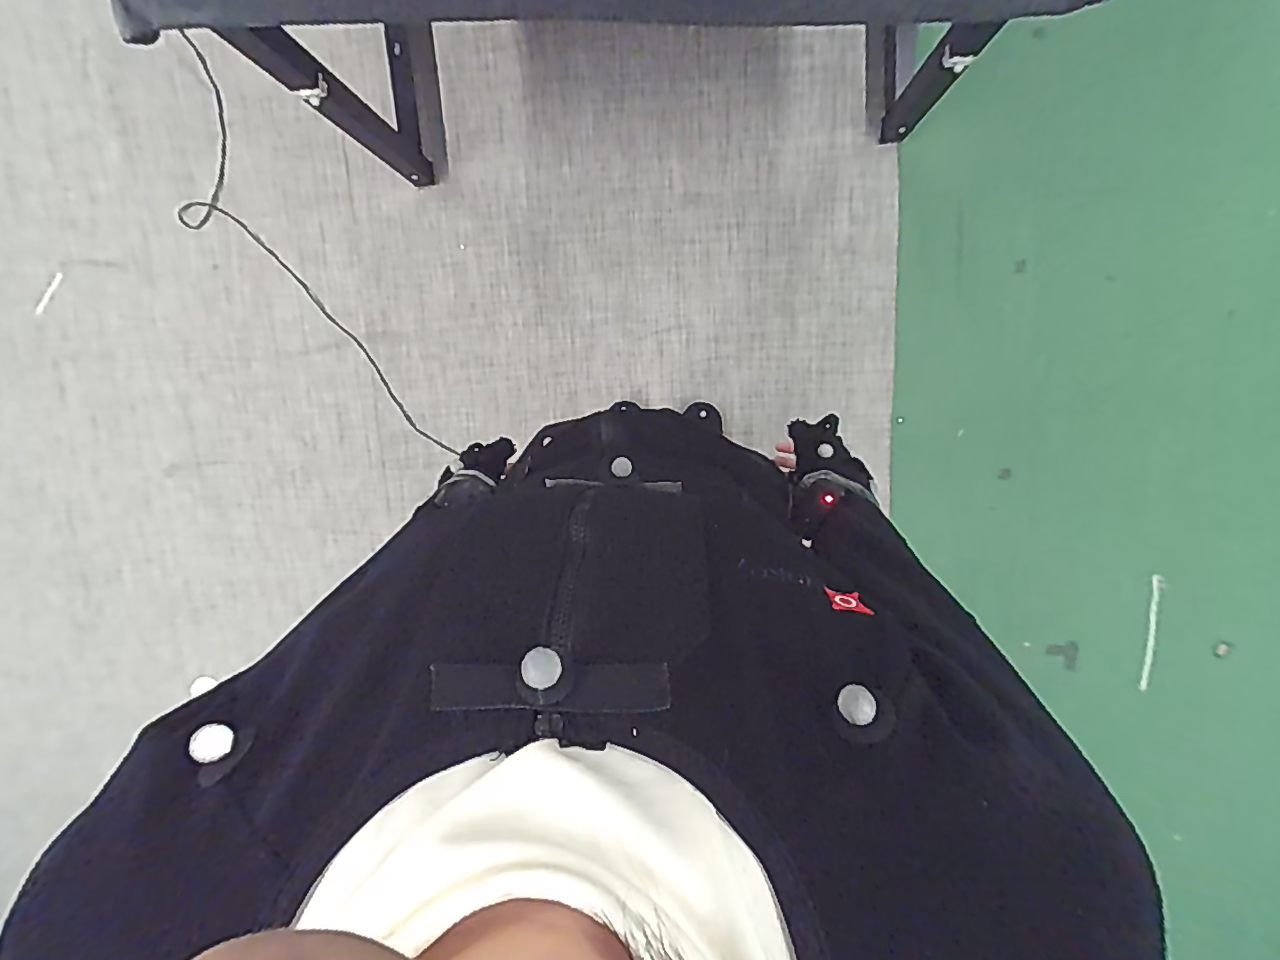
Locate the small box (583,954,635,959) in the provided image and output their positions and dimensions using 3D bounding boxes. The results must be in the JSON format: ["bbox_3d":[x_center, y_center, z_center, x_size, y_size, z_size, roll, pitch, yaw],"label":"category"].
[{"bbox_3d":[-0.105,1.575,1.624,0.179,0.176,0.168,-4,101,4],"label":"small box"}]
